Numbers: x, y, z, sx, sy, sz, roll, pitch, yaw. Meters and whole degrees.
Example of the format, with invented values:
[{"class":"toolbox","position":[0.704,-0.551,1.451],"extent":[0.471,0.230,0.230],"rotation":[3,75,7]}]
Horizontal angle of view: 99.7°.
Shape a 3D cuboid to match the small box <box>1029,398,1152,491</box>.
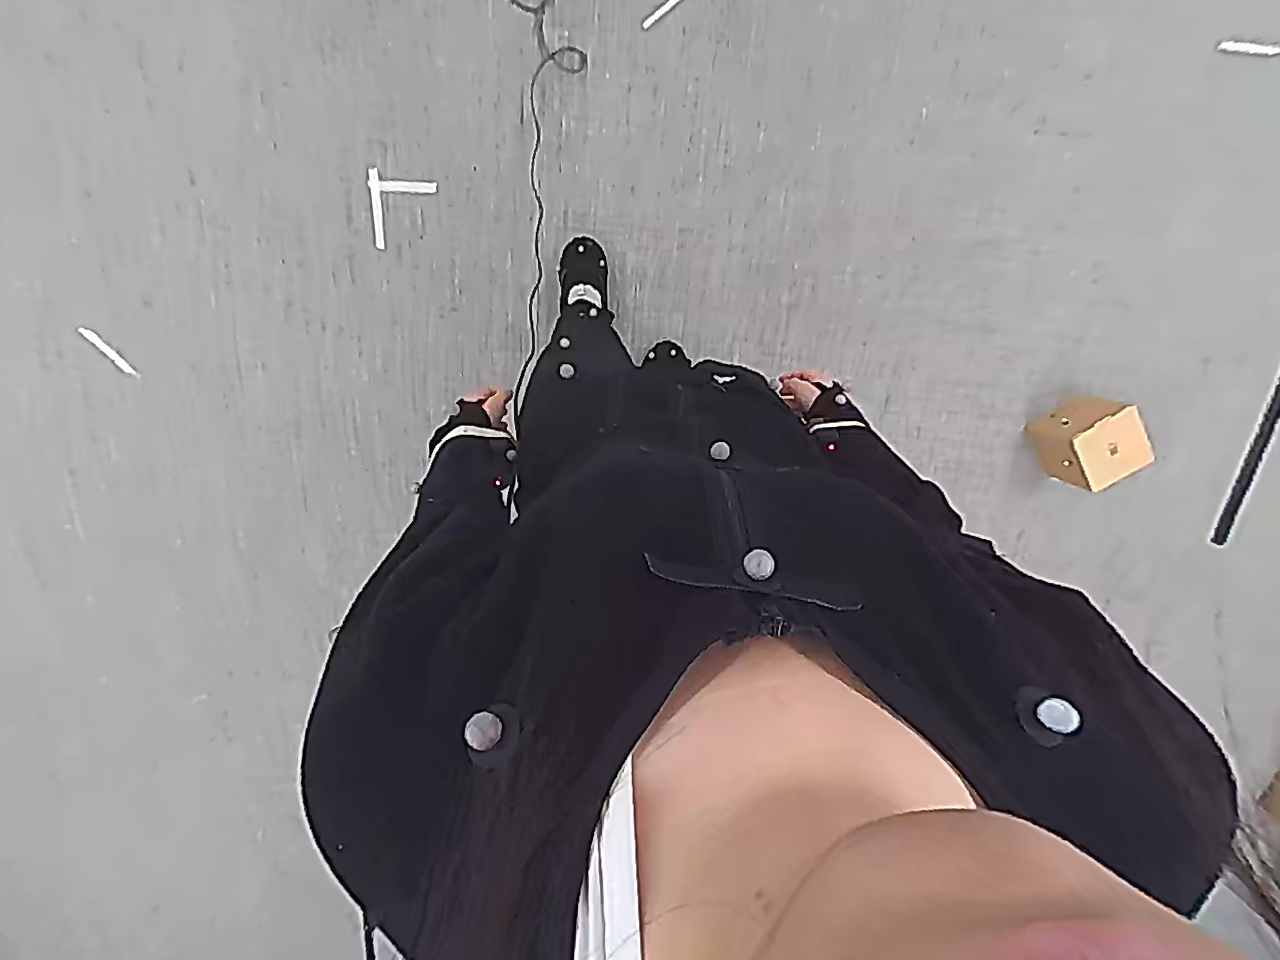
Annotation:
[{"class":"small box","position":[1.187,-0.103,1.439],"extent":[0.168,0.176,0.179],"rotation":[-32,107,9]}]
